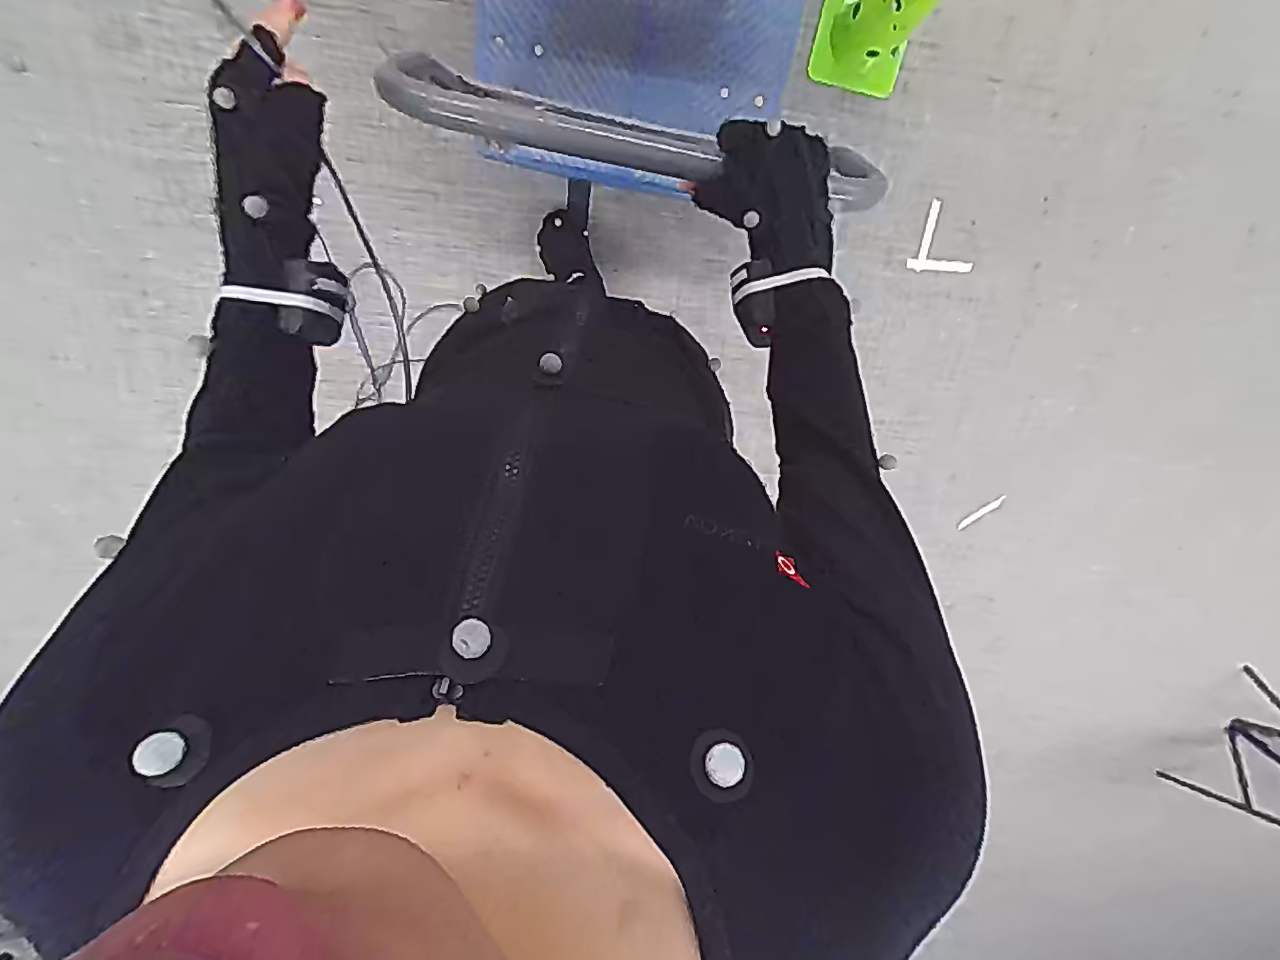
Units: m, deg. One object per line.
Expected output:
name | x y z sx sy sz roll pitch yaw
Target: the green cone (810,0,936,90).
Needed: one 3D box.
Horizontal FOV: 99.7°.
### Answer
green cone | 0.489 -0.886 0.986 0.202 0.368 0.200 7 114 -9
